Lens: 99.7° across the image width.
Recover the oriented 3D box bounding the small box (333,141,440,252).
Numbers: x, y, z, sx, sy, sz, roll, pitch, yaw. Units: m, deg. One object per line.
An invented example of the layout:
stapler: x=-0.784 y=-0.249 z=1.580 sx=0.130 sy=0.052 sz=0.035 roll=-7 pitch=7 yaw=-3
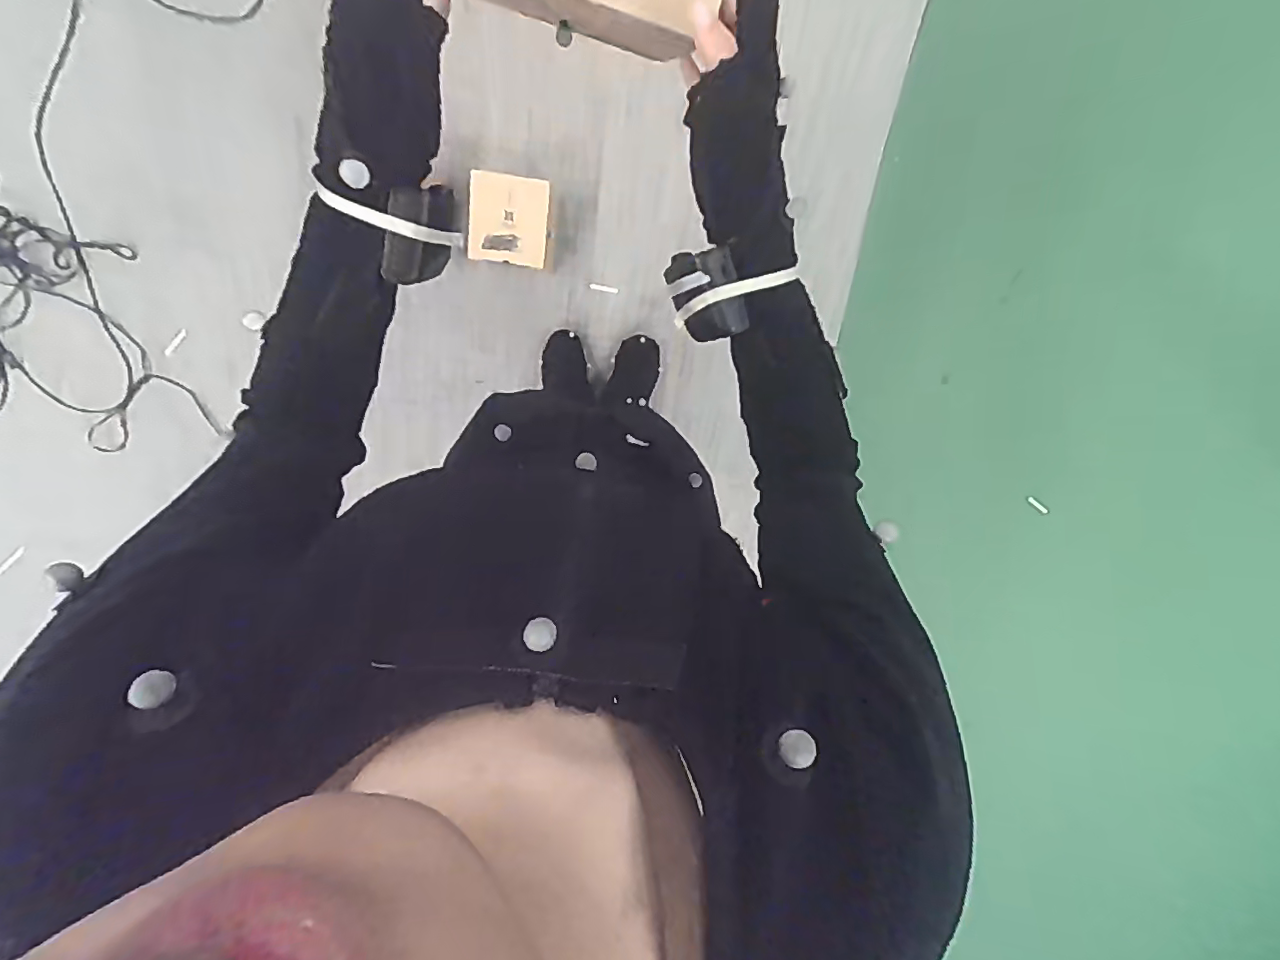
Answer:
small box: x=-0.555 y=-0.618 z=1.199 sx=0.168 sy=0.176 sz=0.179 roll=8 pitch=109 yaw=-3

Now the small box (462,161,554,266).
small box: x=-0.291 y=-0.586 z=1.212 sx=0.168 sy=0.176 sz=0.179 roll=7 pitch=108 yaw=-4
